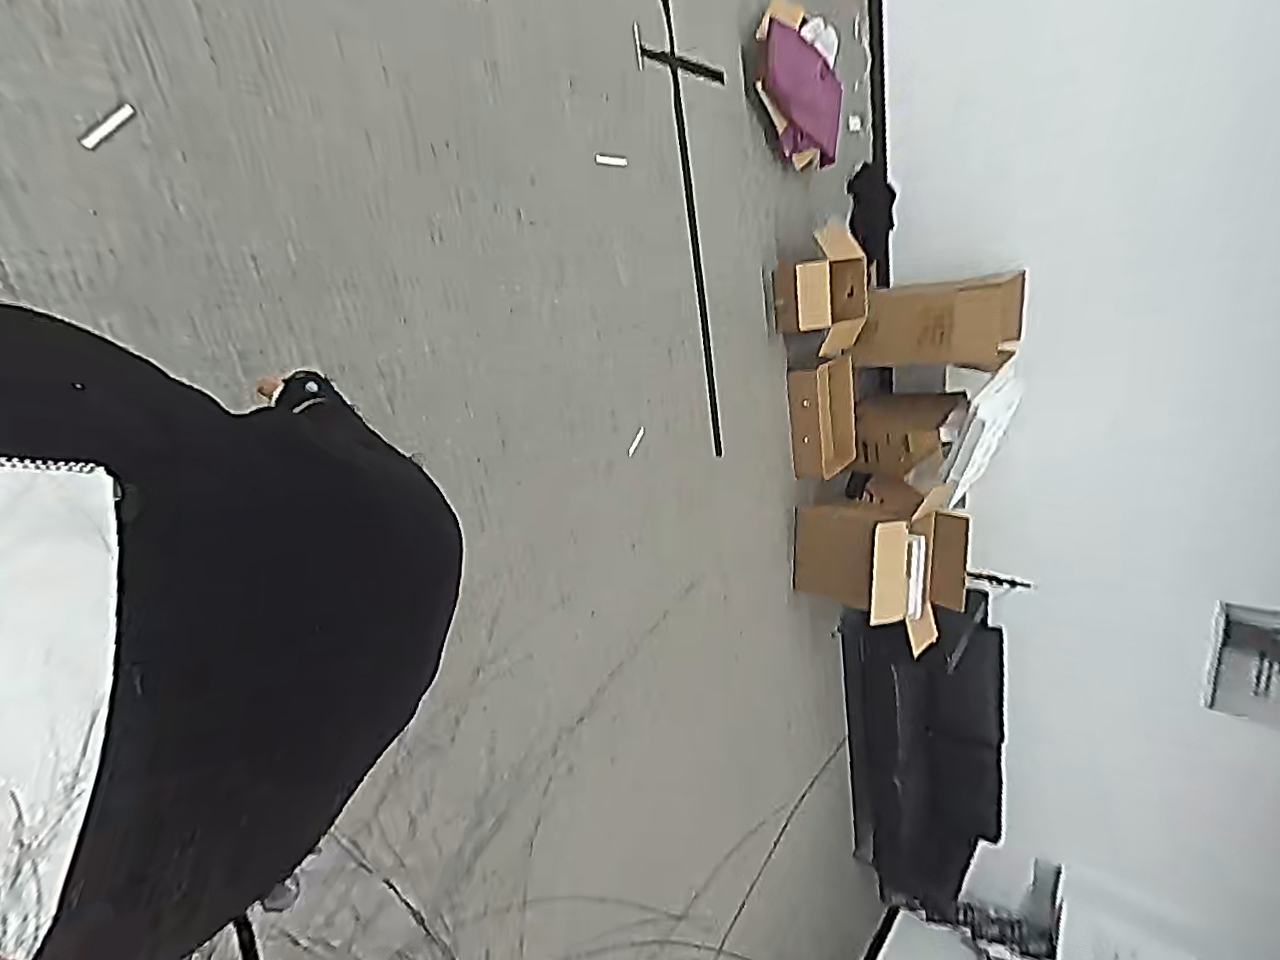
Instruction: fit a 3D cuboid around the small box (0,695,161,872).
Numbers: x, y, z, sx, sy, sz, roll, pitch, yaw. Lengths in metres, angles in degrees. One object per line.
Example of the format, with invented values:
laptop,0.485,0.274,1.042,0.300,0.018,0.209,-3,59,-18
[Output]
small box,-0.945,0.484,0.903,0.168,0.176,0.179,-28,115,-41
